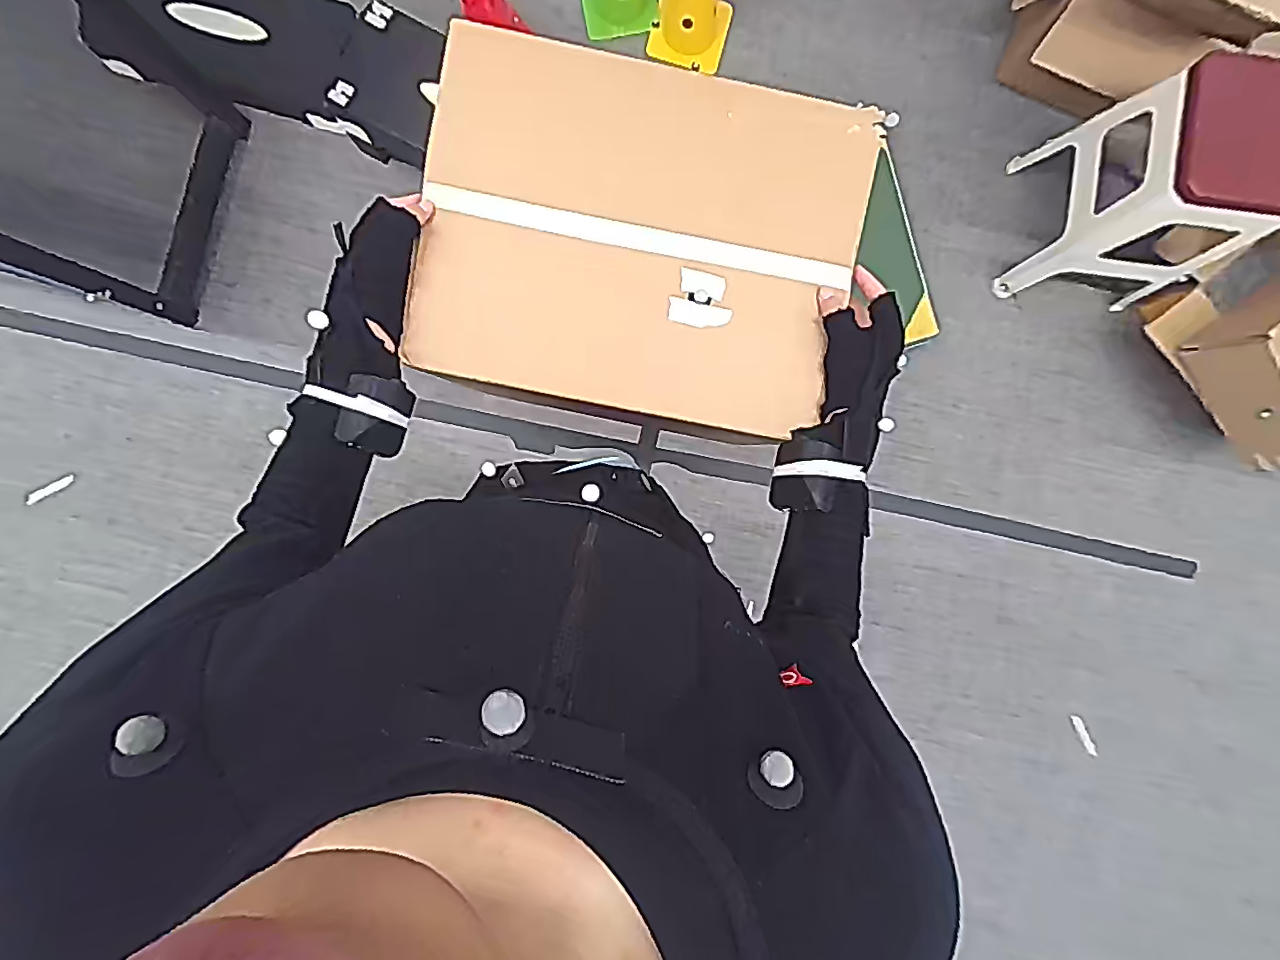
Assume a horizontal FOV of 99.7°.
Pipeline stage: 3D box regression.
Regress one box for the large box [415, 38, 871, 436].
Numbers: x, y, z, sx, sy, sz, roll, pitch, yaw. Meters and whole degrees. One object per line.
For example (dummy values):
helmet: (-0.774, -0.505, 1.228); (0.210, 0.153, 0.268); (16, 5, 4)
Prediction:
large box: (-0.004, -0.240, 0.668); (0.408, 0.320, 0.320); (11, 94, -2)
